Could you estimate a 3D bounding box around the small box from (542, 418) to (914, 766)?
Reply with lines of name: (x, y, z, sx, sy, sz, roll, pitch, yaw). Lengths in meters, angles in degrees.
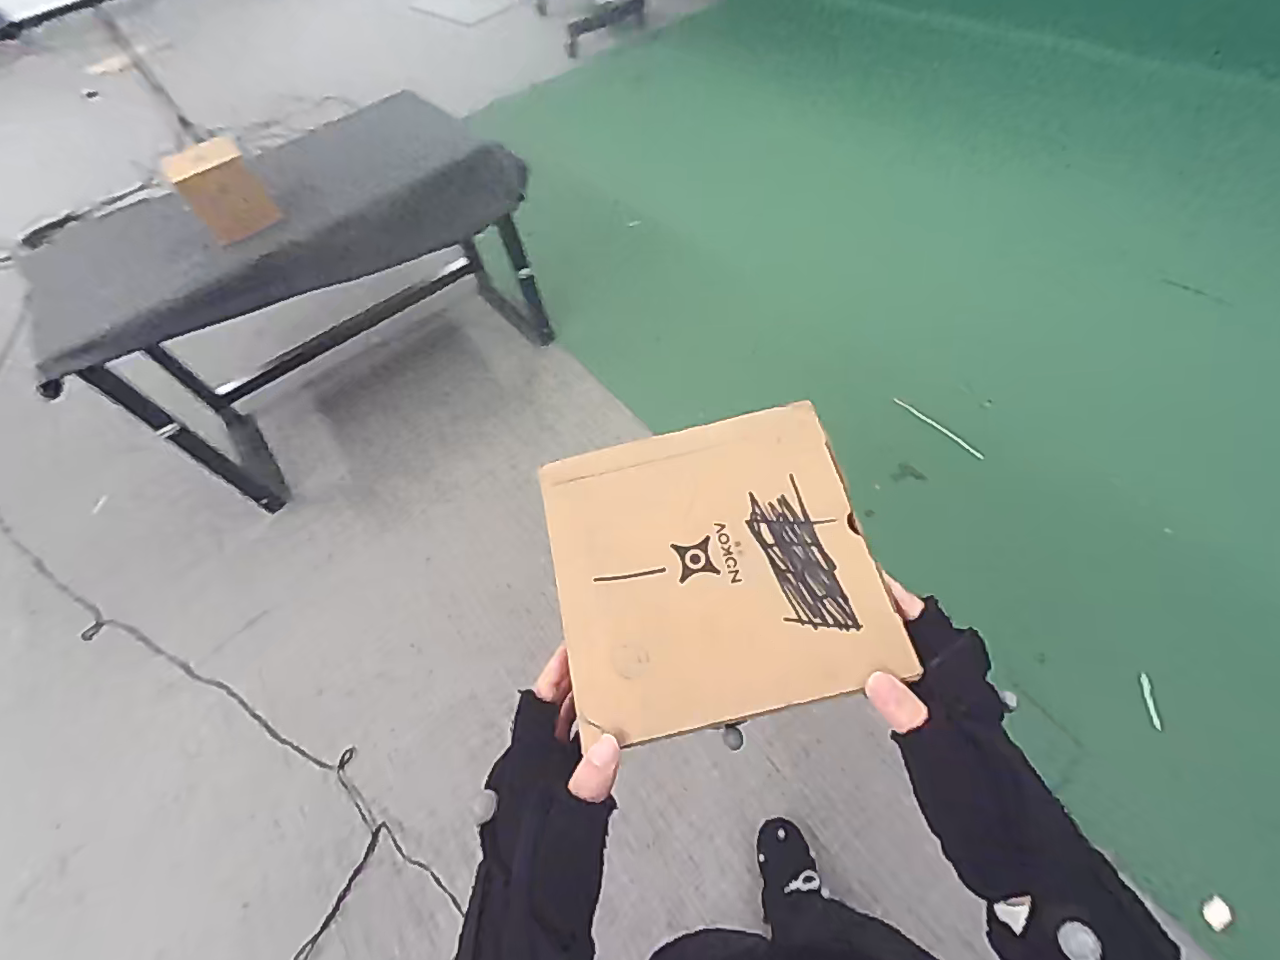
small box: (0.045, 0.083, 0.375, 0.179, 0.176, 0.168, -14, 65, -1)

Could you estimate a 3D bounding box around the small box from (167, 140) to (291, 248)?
small box: (-1.048, -0.729, 1.387, 0.179, 0.176, 0.168, -35, 59, -15)
